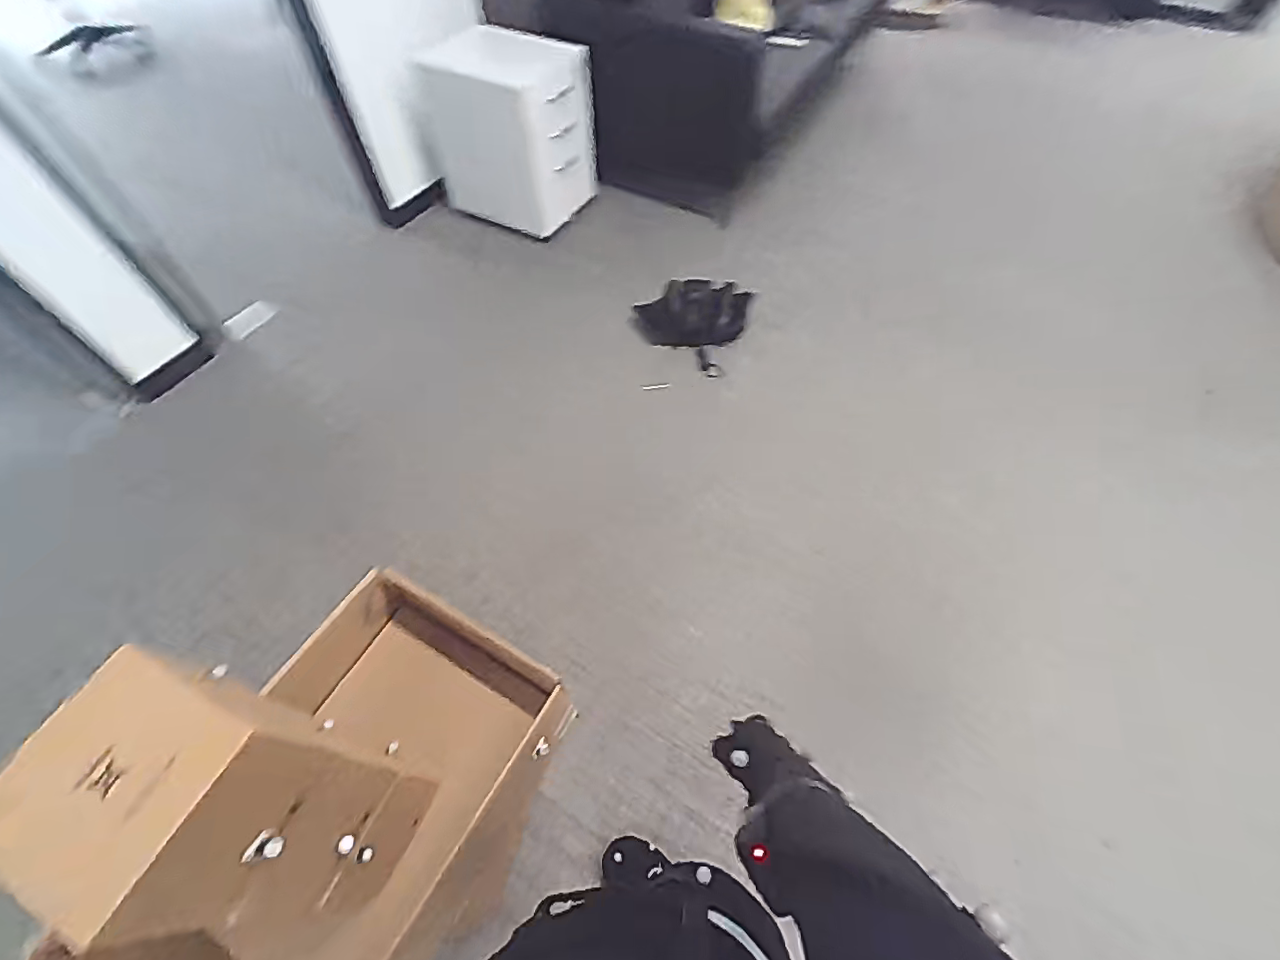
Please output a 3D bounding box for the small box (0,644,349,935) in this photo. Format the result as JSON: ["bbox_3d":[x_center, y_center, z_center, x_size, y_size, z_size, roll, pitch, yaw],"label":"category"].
[{"bbox_3d":[-0.434,0.289,0.523,0.179,0.176,0.168,21,61,14],"label":"small box"}]

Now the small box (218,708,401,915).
[{"bbox_3d":[-0.433,0.383,0.655,0.179,0.176,0.168,21,60,14],"label":"small box"}]

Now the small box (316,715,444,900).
[{"bbox_3d":[-0.425,0.473,0.791,0.179,0.176,0.168,19,60,15],"label":"small box"}]
